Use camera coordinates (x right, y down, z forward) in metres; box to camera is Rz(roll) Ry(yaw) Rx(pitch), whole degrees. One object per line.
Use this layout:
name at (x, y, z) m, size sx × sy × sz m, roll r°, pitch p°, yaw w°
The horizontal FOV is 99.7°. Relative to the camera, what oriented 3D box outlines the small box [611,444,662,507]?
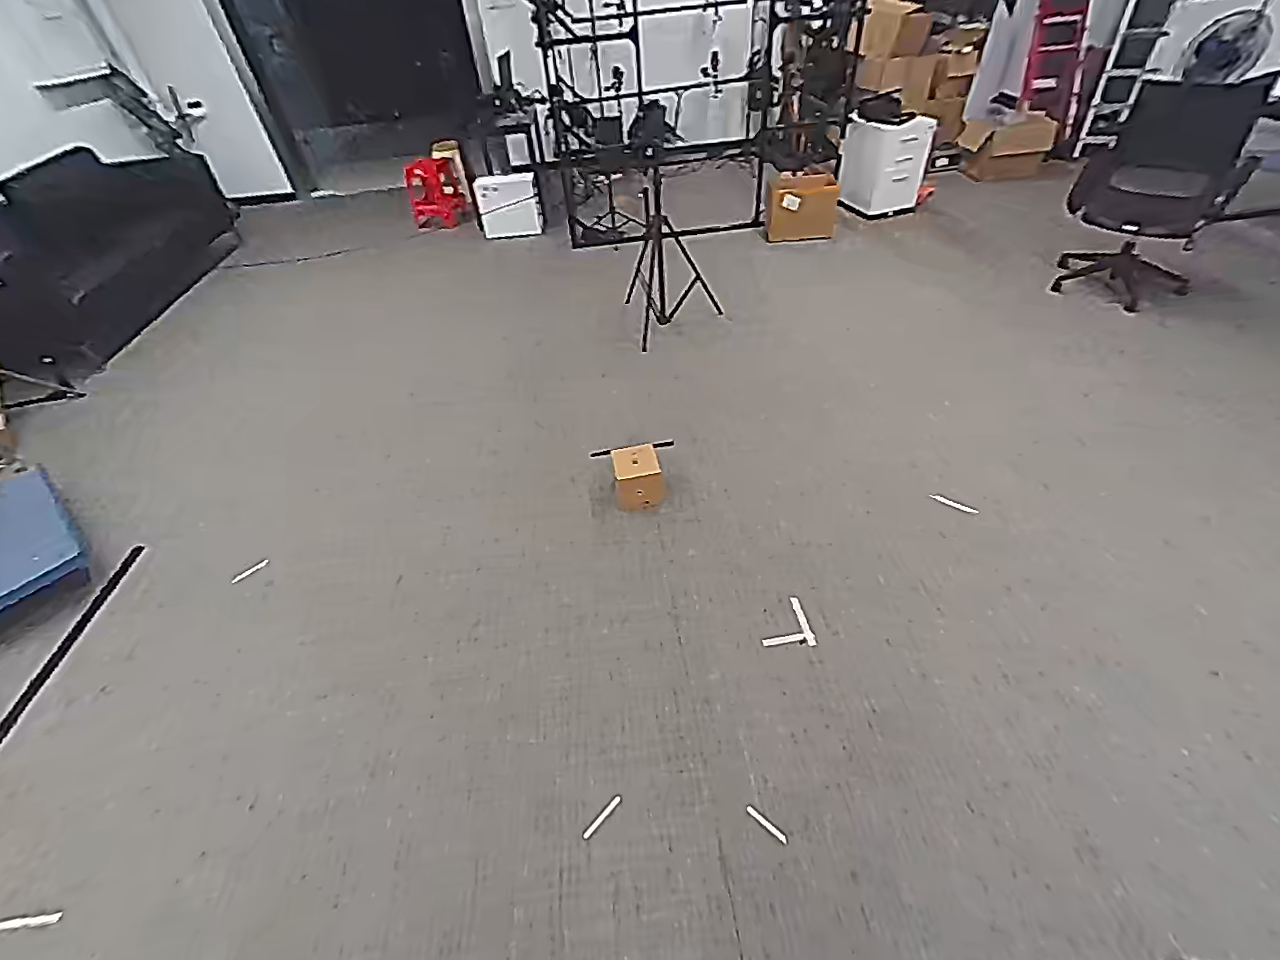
small box at (-0.014, -0.011, 2.090) m, size 0.168 × 0.176 × 0.179 m, roll -10°, pitch 43°, yaw -5°
